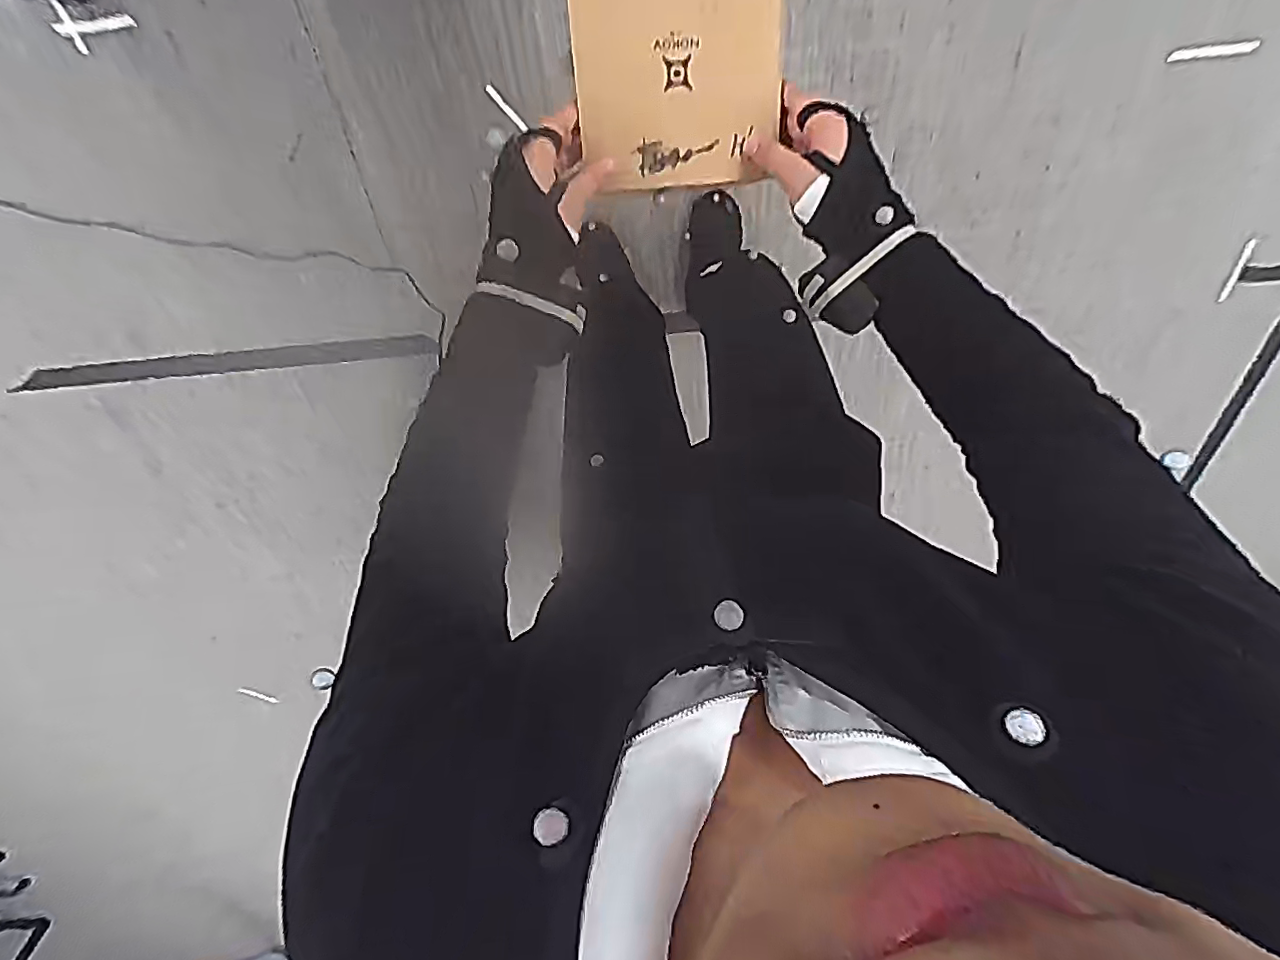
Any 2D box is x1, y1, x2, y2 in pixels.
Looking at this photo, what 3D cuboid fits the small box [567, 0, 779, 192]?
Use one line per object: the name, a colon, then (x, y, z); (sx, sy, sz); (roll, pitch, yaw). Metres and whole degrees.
small box: (0.023, -0.373, 0.495); (0.168, 0.176, 0.179); (-5, 115, 0)
